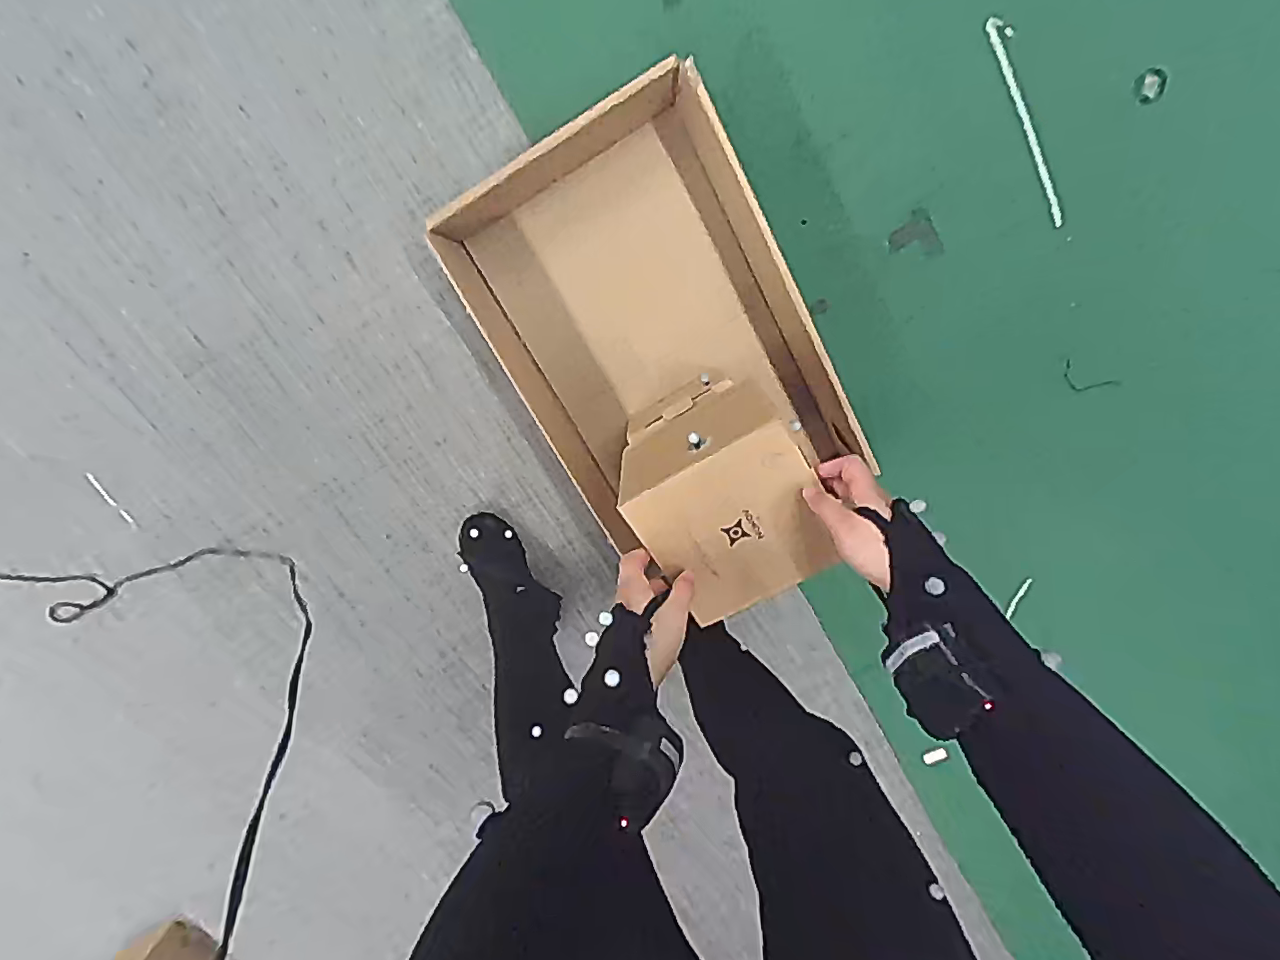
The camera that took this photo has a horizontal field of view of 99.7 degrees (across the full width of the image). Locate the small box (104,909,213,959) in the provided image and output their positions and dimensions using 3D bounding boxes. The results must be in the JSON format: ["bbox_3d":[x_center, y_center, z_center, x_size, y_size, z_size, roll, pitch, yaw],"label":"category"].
[{"bbox_3d":[-1.164,1.166,1.272,0.179,0.176,0.168,-30,105,9],"label":"small box"}]

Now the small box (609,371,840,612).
[{"bbox_3d":[0.083,0.003,0.592,0.179,0.176,0.168,-30,110,14],"label":"small box"}]
